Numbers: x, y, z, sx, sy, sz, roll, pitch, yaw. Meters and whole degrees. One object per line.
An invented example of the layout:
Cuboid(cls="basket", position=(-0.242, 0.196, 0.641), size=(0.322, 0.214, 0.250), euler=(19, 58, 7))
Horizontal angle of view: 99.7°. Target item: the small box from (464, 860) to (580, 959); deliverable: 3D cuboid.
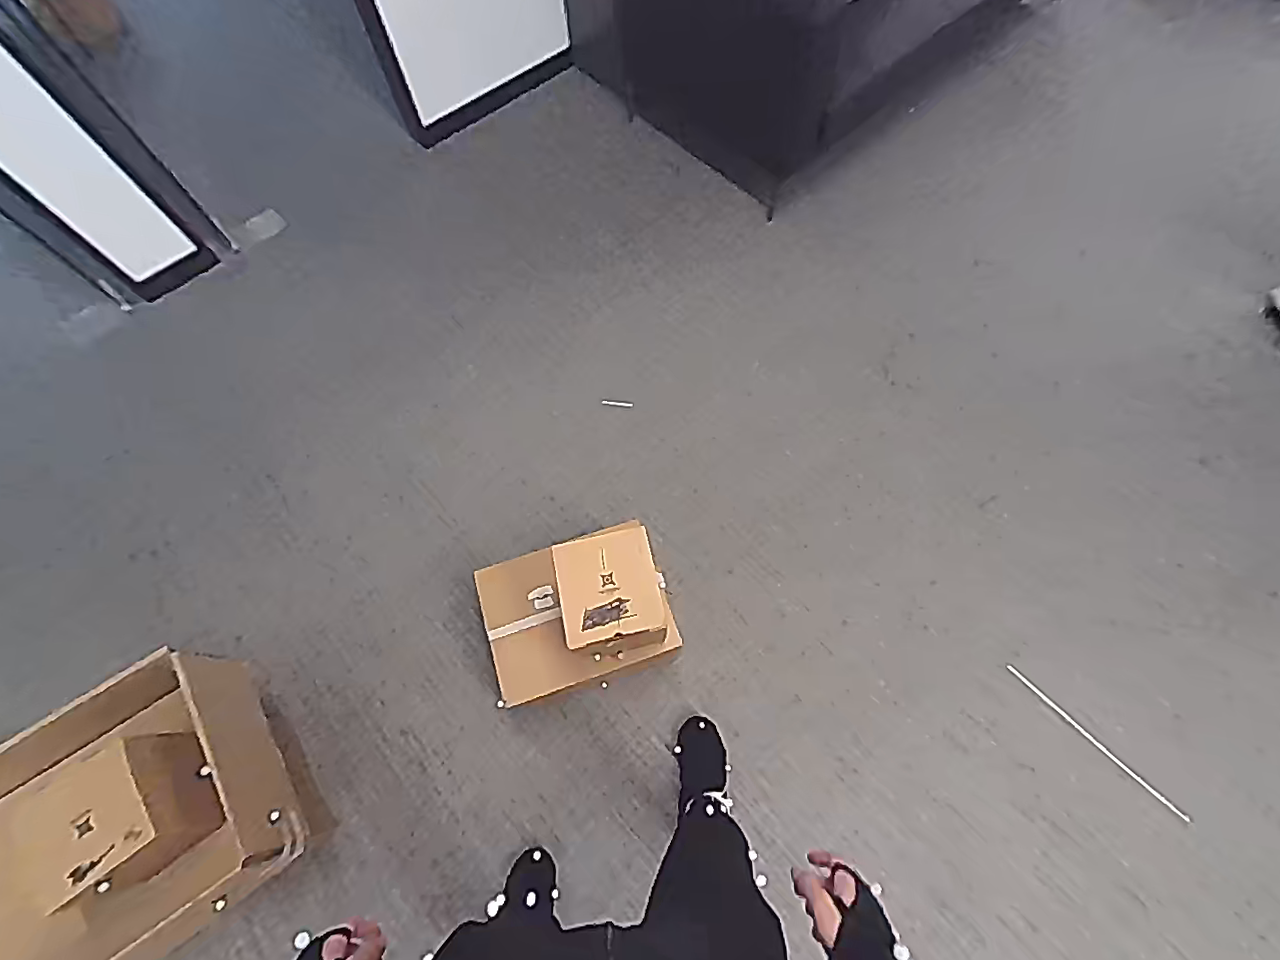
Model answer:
Cuboid(cls="small box", position=(-0.246, 0.974, 1.177), size=(0.168, 0.176, 0.179), euler=(28, 58, 23))

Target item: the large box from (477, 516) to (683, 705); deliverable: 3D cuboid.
Cuboid(cls="large box", position=(-0.136, 0.333, 1.347), size=(0.408, 0.320, 0.320), euler=(-18, 68, -6))

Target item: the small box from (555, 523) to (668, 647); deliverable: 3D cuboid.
Cuboid(cls="small box", position=(-0.047, 0.195, 0.961), size=(0.168, 0.176, 0.179), euler=(-11, 69, -3))

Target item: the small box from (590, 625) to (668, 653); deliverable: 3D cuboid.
Cuboid(cls="small box", position=(-0.043, 0.249, 1.116), size=(0.168, 0.176, 0.179), euler=(-12, 70, -4))
